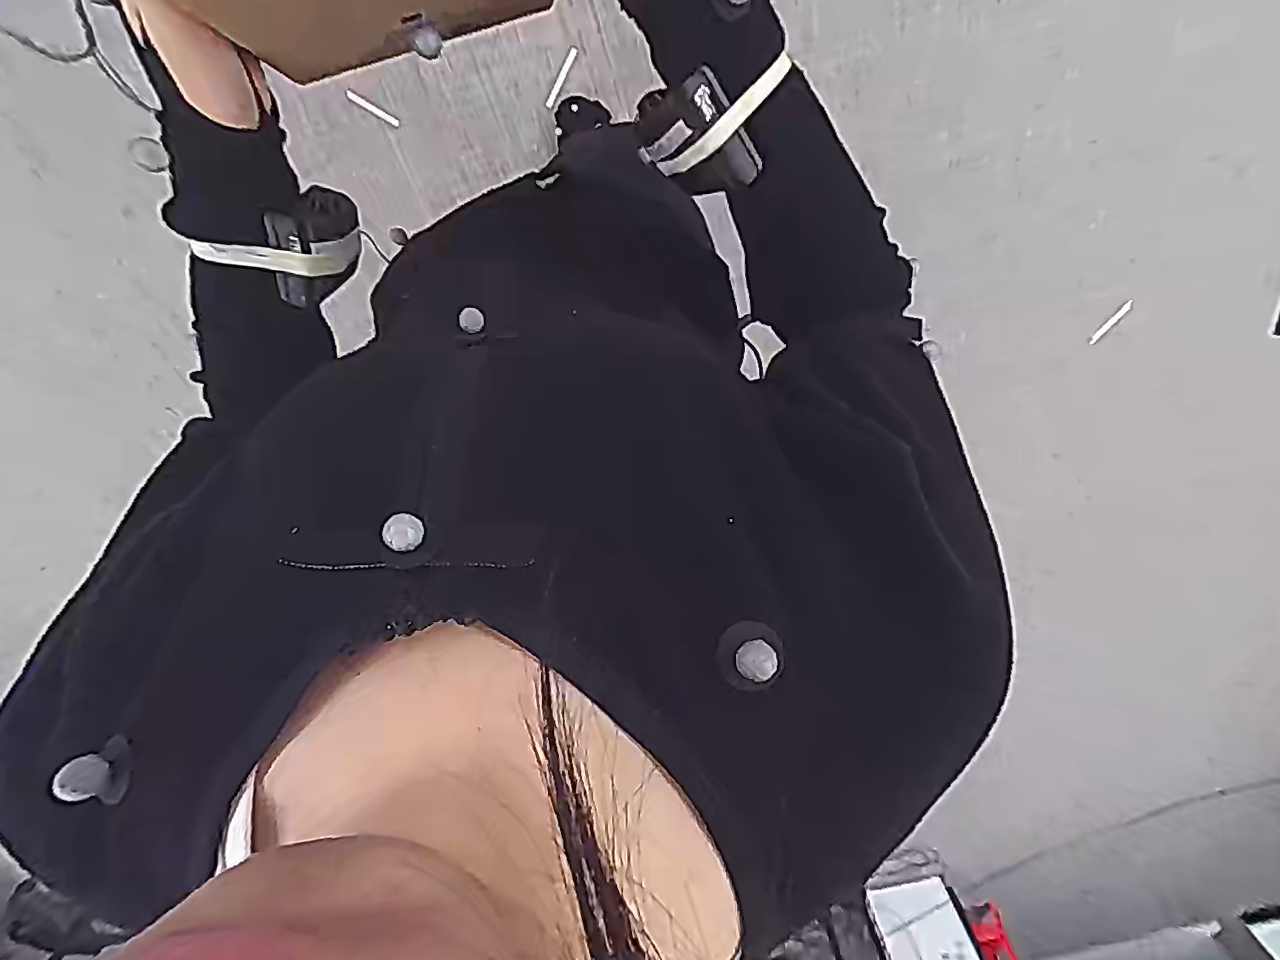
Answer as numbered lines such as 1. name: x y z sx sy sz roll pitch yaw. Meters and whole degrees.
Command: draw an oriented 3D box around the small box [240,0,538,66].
1. small box: -0.131 -0.309 0.218 0.168 0.176 0.179 -21 120 -4
